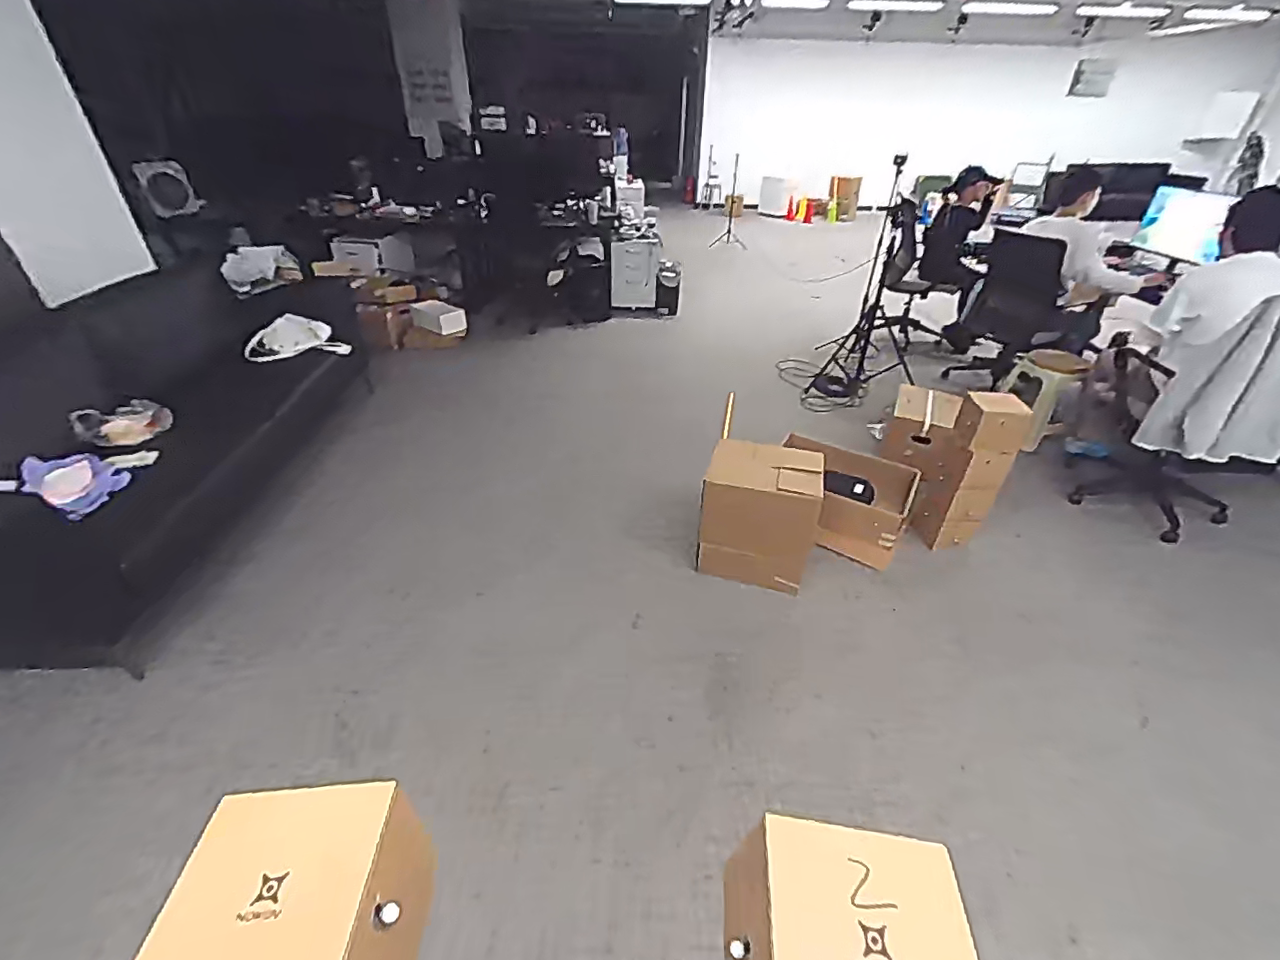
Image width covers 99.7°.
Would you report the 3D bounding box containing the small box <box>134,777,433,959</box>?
[{"bbox_3d":[-0.304,0.405,0.496,0.168,0.176,0.179,-3,35,-2],"label":"small box"}]
